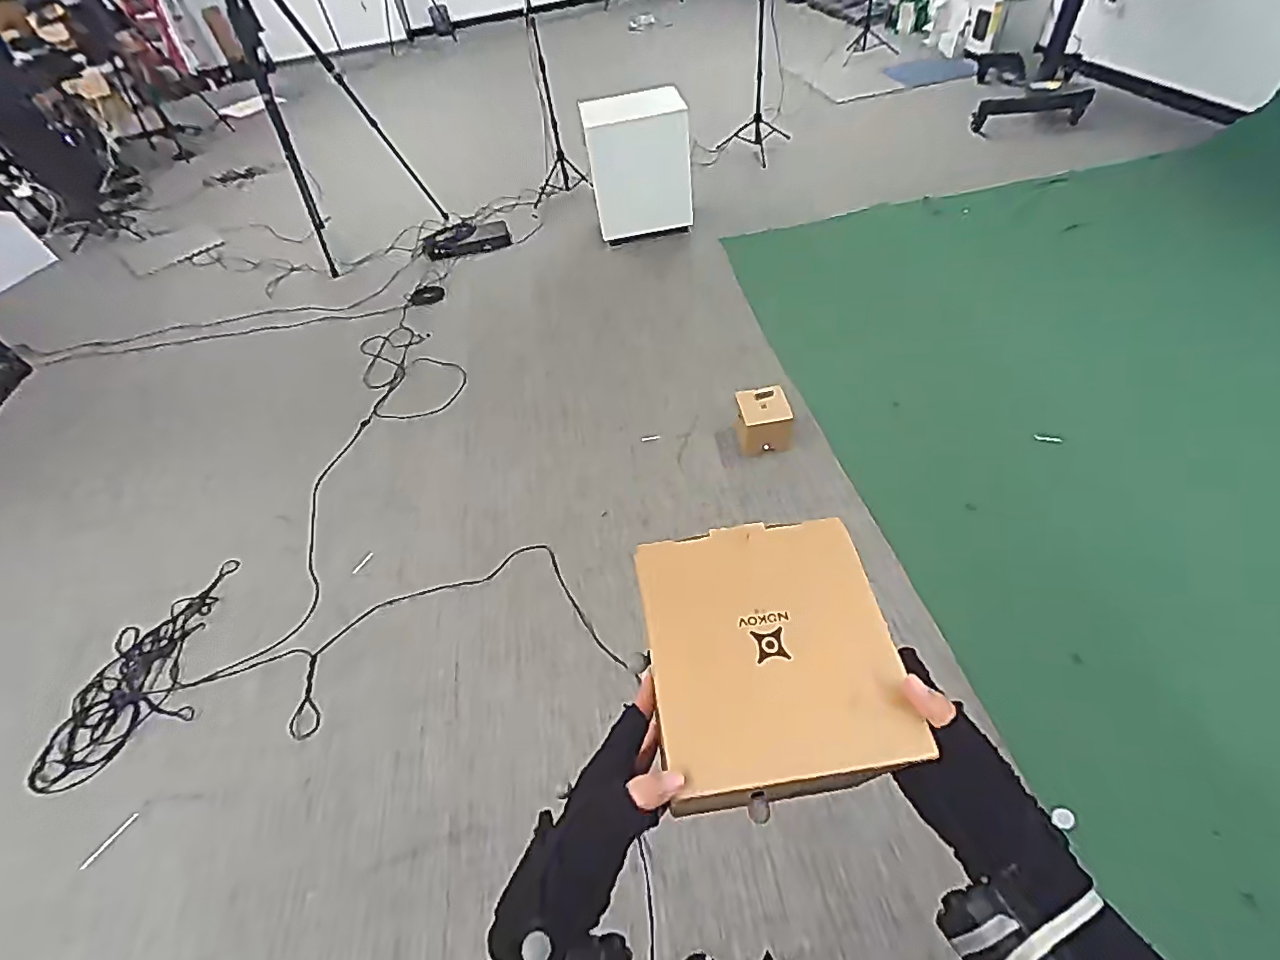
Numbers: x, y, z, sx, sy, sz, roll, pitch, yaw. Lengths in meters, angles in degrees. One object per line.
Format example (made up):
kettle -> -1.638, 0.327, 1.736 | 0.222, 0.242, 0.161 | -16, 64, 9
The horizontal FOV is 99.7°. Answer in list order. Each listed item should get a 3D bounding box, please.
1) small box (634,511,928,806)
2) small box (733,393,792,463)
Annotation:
small box -> 0.091, 0.151, 0.438 | 0.168, 0.176, 0.179 | -8, 53, -2
small box -> 0.434, -0.186, 1.941 | 0.168, 0.176, 0.179 | -9, 50, 1
